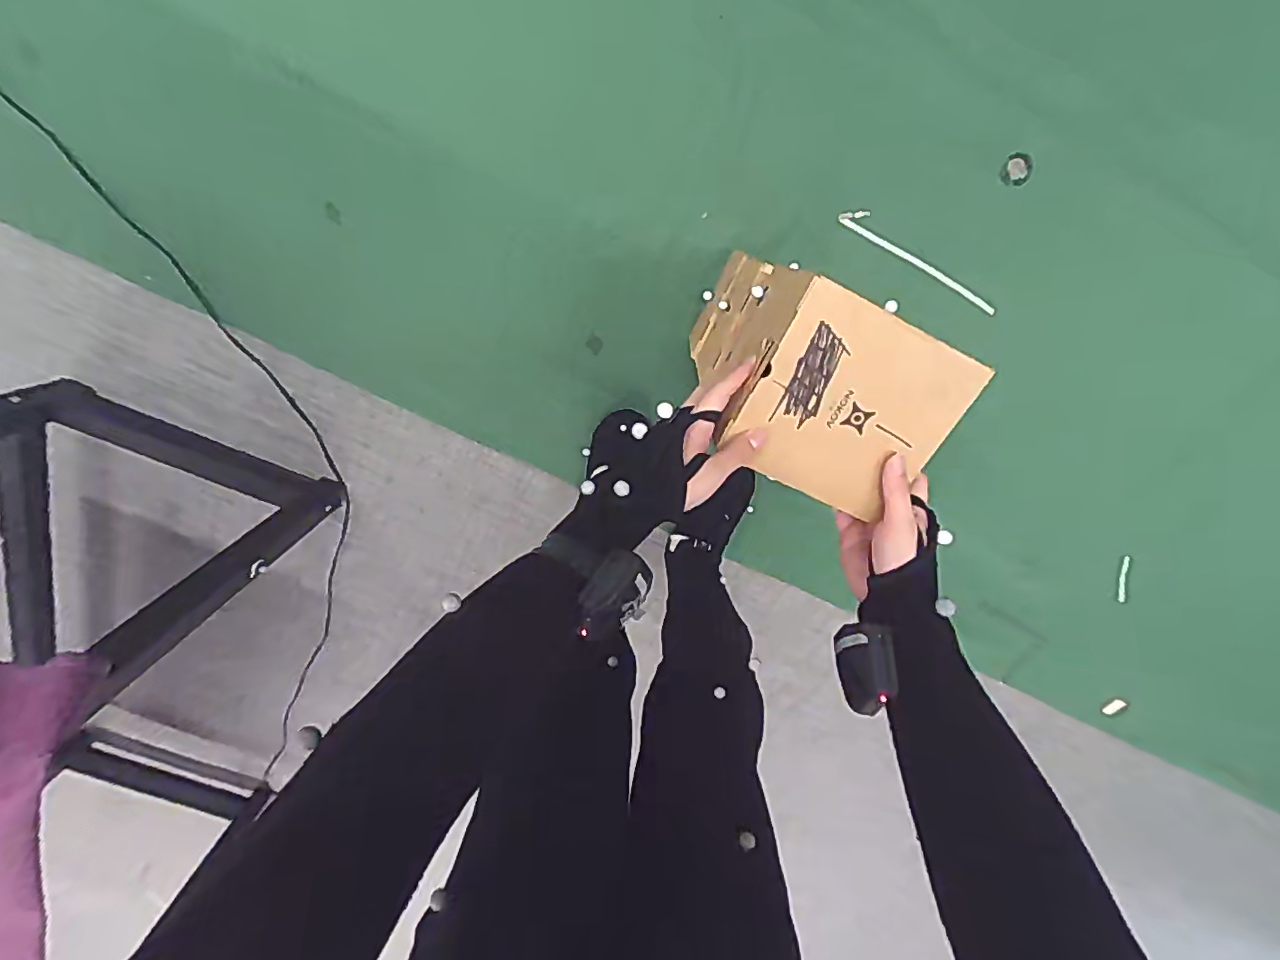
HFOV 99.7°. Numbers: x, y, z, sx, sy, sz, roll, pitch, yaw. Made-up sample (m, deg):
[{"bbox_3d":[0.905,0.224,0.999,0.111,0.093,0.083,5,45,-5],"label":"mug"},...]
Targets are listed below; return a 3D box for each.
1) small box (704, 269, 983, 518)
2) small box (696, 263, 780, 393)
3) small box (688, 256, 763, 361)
[{"bbox_3d":[0.177,-0.095,0.540,0.179,0.176,0.168,24,113,-10],"label":"small box"},{"bbox_3d":[0.188,-0.182,0.734,0.179,0.176,0.168,23,114,-6],"label":"small box"},{"bbox_3d":[0.191,-0.252,0.881,0.179,0.176,0.168,25,114,-8],"label":"small box"}]
